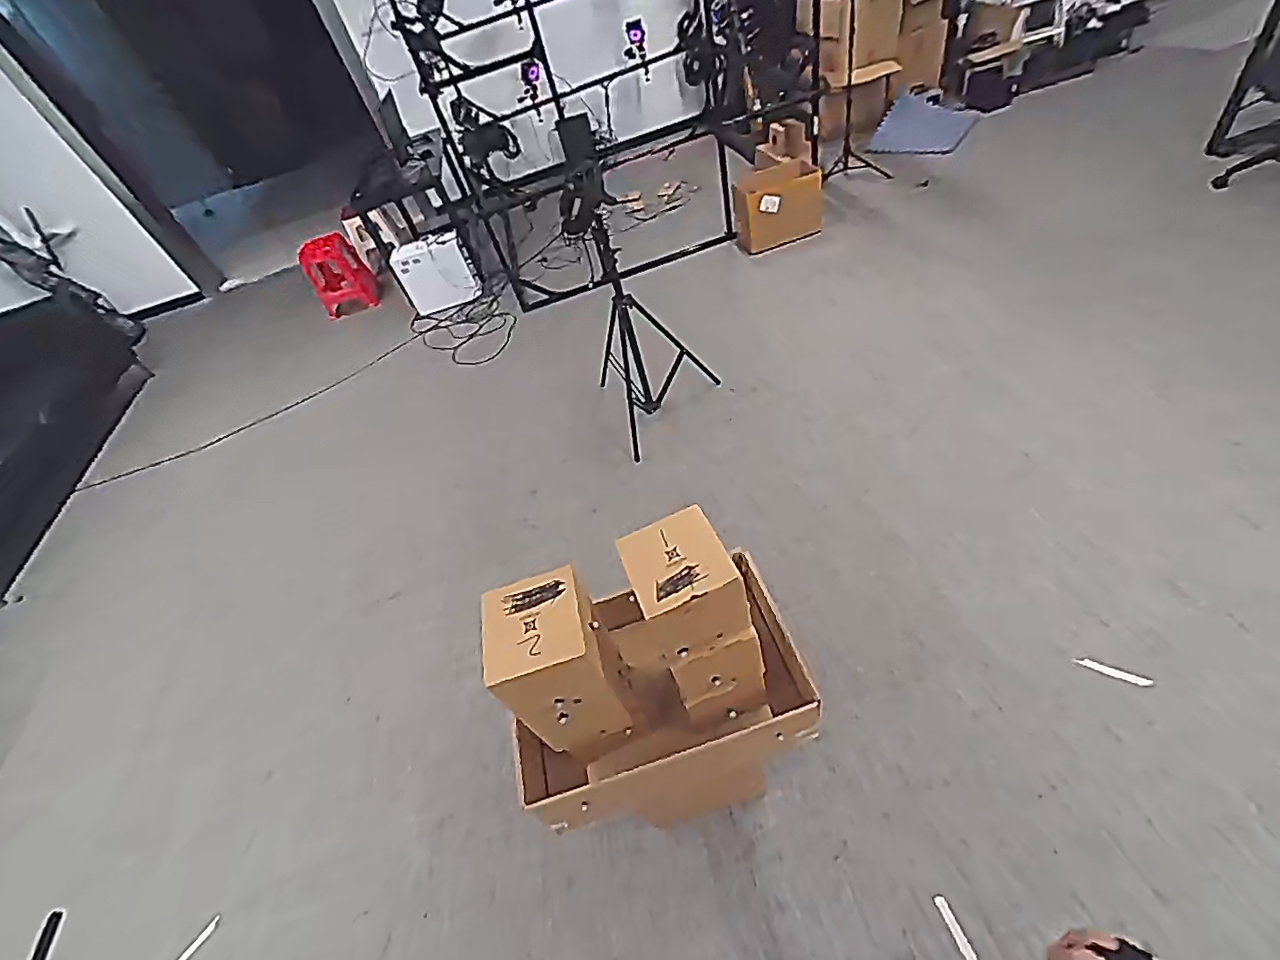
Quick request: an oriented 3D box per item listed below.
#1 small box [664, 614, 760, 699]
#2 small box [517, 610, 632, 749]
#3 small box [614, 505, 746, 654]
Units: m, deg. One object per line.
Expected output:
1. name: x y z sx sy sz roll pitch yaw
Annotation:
1. small box: 0.122 0.296 1.061 0.168 0.176 0.179 -22 47 -2
2. small box: -0.127 0.391 1.055 0.168 0.176 0.179 -20 45 1
3. small box: 0.074 0.183 0.951 0.168 0.176 0.179 -24 46 -4
